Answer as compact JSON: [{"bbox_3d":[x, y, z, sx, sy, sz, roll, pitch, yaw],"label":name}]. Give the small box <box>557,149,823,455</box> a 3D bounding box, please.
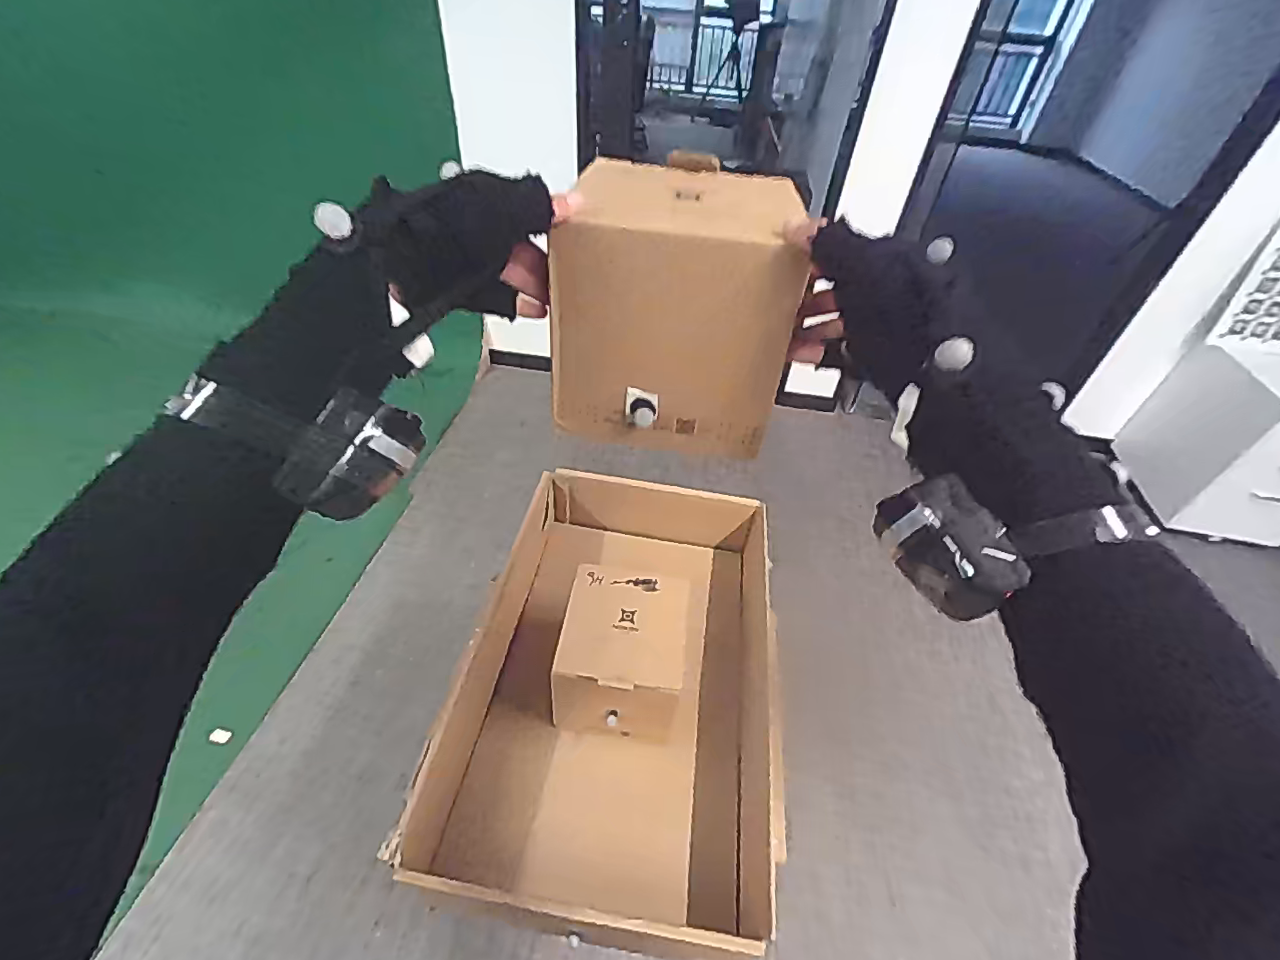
[{"bbox_3d":[0.030,-0.145,0.438,0.168,0.176,0.179,7,42,1],"label":"small box"}]
